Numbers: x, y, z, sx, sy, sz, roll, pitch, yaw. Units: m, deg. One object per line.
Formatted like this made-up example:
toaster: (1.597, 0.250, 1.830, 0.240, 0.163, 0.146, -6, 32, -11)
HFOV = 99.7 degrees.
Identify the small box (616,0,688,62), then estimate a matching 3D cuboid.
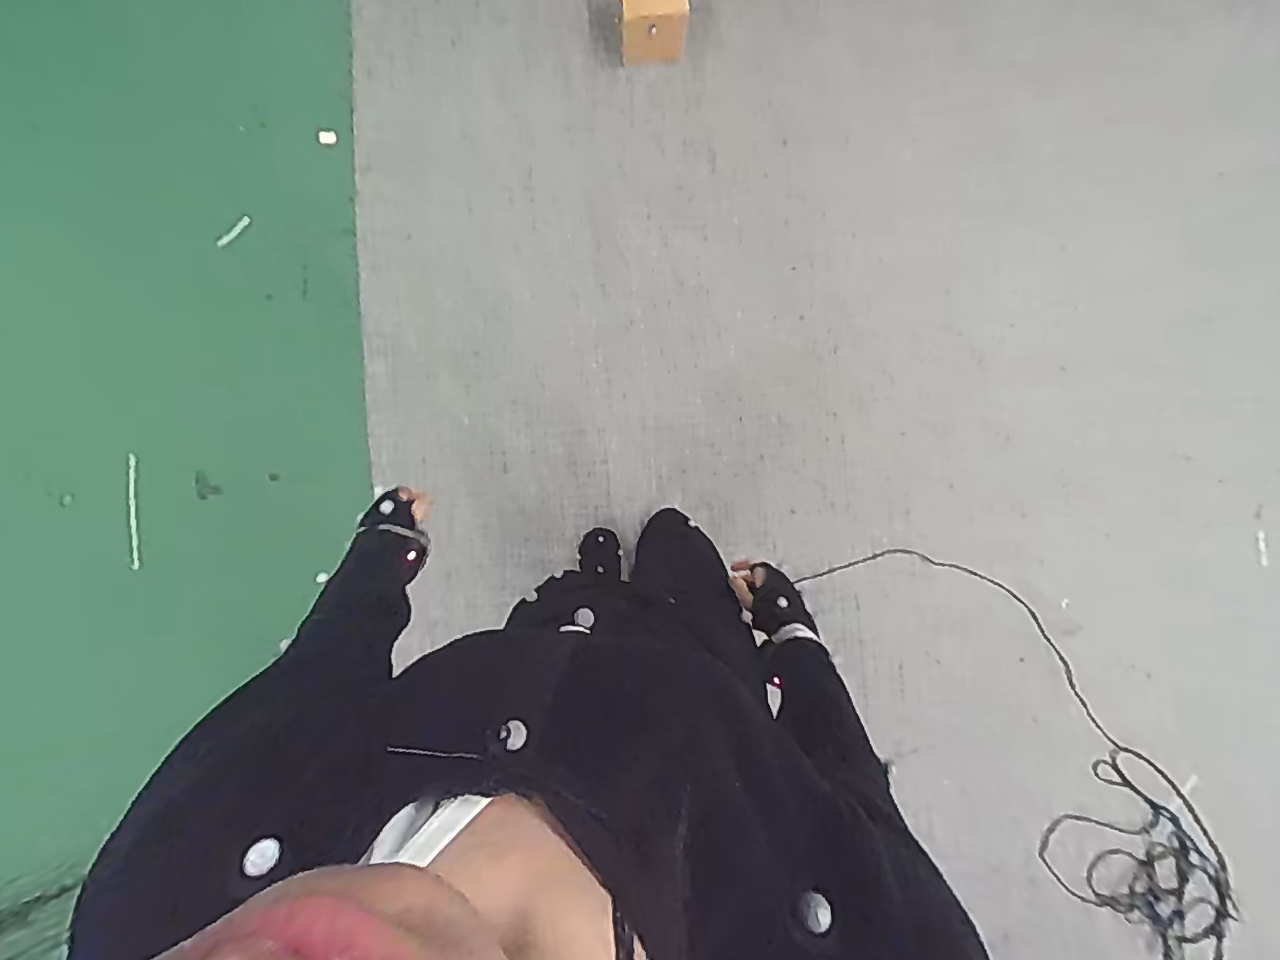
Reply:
small box: (0.028, -1.285, 1.471, 0.179, 0.176, 0.168, -7, 90, -1)
